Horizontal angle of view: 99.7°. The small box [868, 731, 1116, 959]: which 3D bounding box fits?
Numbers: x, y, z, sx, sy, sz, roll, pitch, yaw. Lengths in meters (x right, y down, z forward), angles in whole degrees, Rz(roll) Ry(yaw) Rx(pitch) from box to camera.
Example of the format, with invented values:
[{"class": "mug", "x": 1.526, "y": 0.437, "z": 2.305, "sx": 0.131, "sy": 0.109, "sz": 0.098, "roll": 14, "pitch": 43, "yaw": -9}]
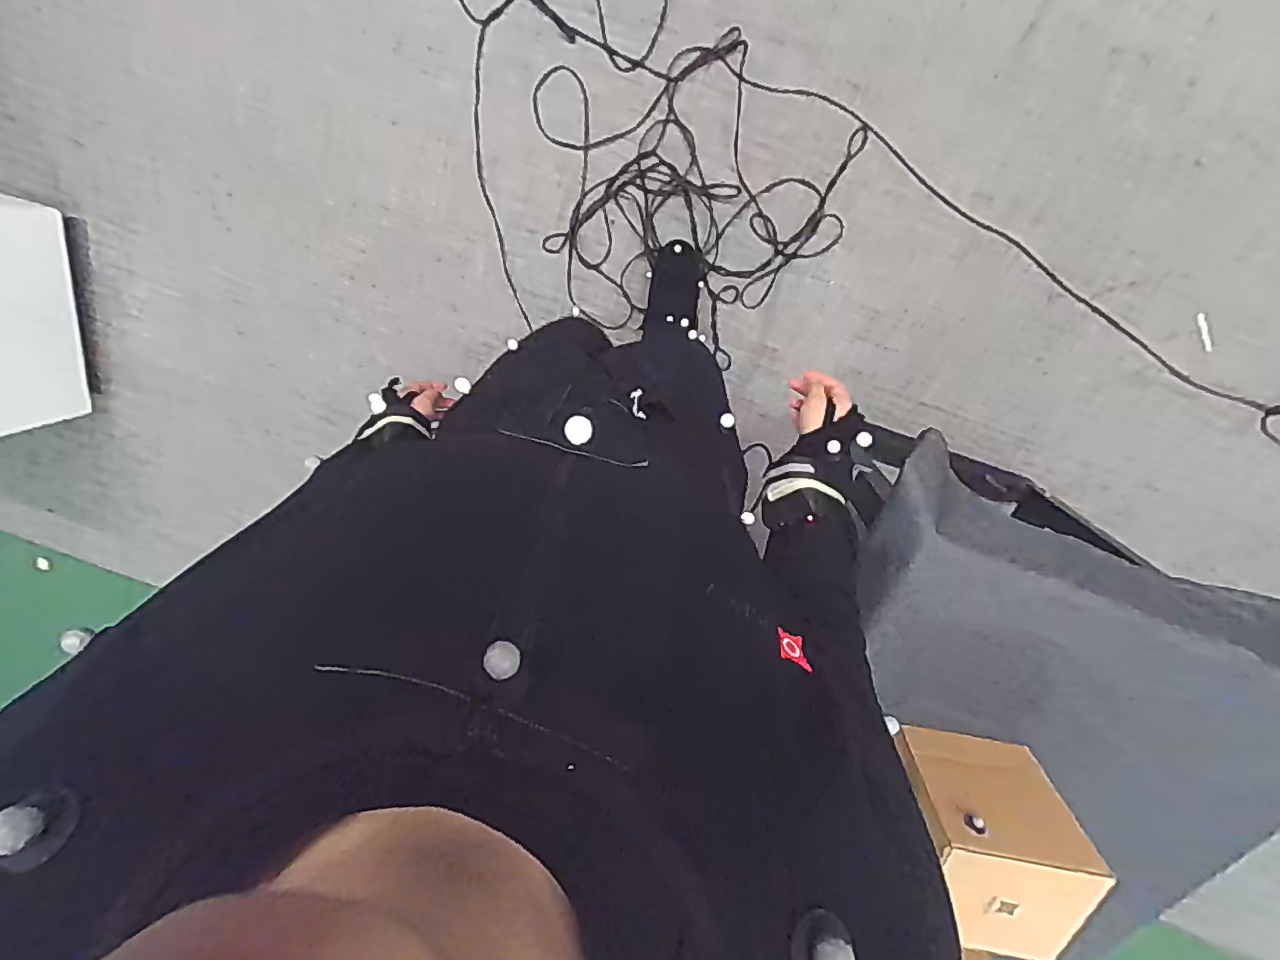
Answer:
[{"class": "small box", "x": 0.413, "y": 0.445, "z": 0.674, "sx": 0.179, "sy": 0.176, "sz": 0.168, "roll": 9, "pitch": 114, "yaw": 3}]
